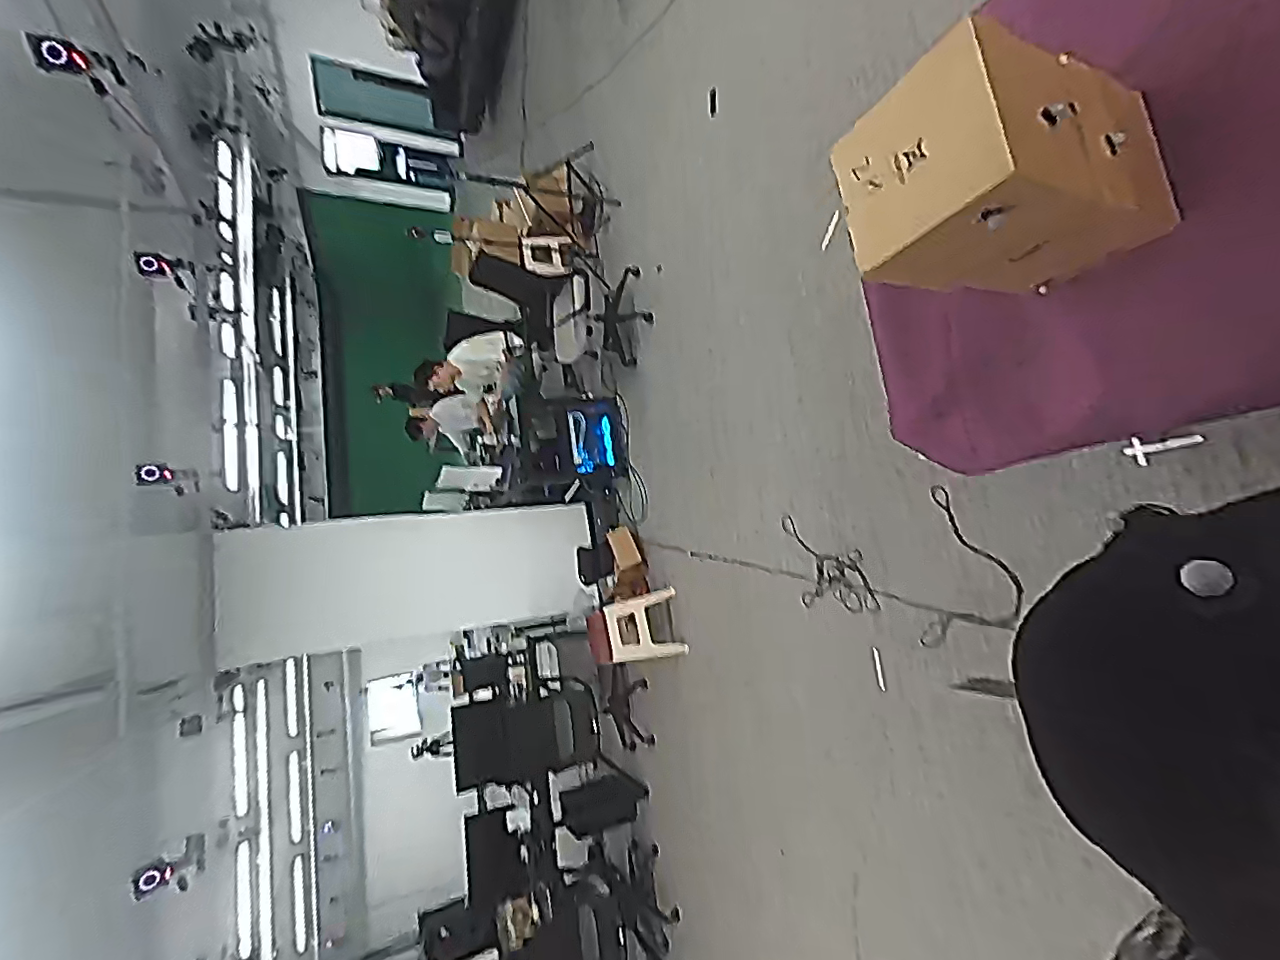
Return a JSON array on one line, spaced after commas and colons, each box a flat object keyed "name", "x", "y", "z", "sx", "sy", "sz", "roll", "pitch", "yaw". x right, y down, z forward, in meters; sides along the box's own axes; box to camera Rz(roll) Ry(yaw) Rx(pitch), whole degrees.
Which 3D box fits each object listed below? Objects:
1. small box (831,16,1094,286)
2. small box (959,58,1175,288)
[{"name": "small box", "x": 0.346, "y": -0.331, "z": 0.586, "sx": 0.179, "sy": 0.176, "sz": 0.168, "roll": -26, "pitch": 70, "yaw": 62}, {"name": "small box", "x": 0.494, "y": -0.350, "z": 0.657, "sx": 0.168, "sy": 0.176, "sz": 0.179, "roll": -24, "pitch": 71, "yaw": 62}]
